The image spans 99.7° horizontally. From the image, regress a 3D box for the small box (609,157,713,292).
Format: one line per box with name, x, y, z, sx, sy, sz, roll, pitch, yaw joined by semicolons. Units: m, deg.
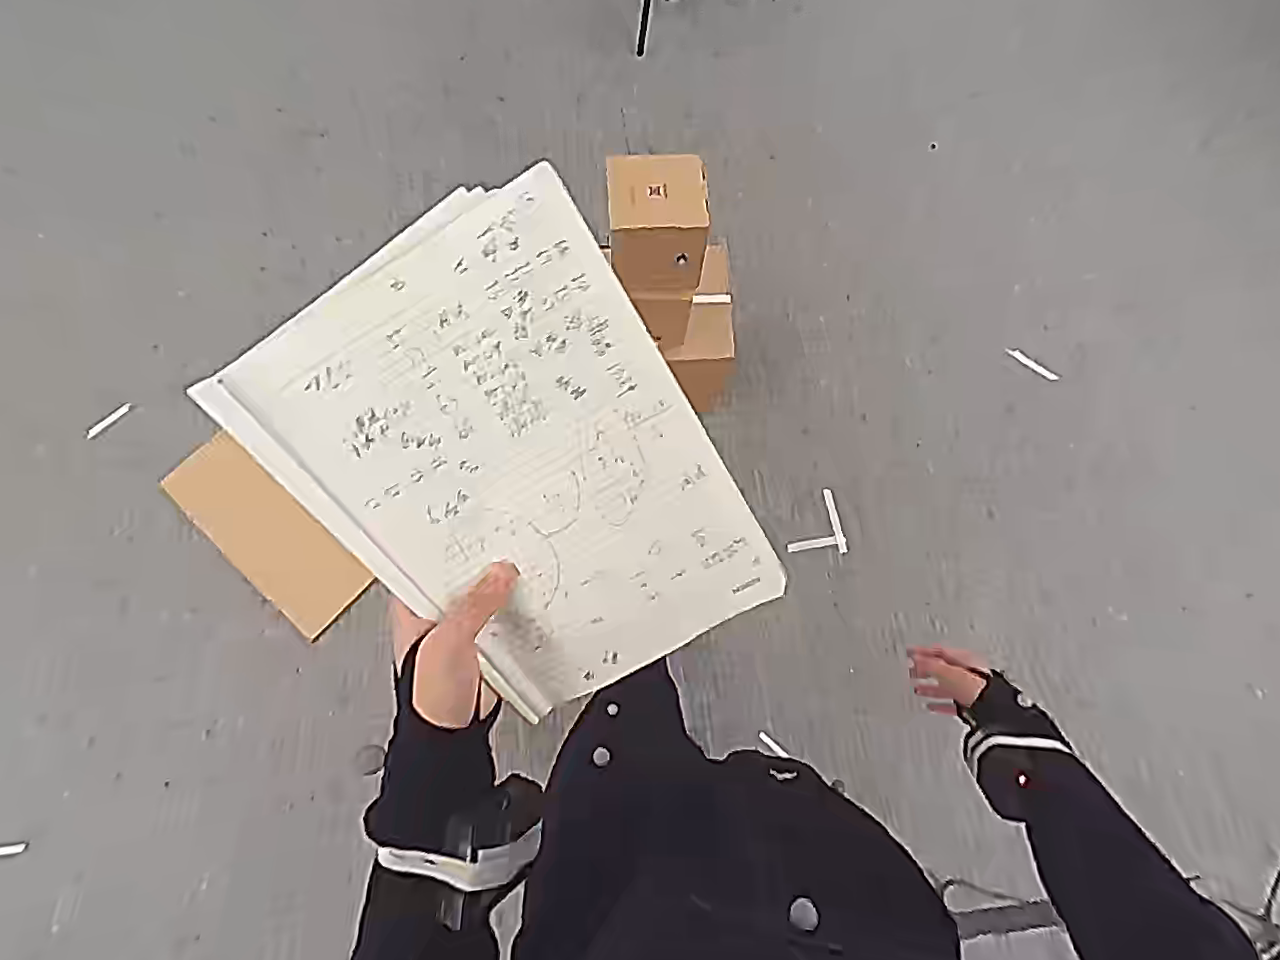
small box;0.033;-0.476;1.024;0.179;0.176;0.168;-4;72;-1
